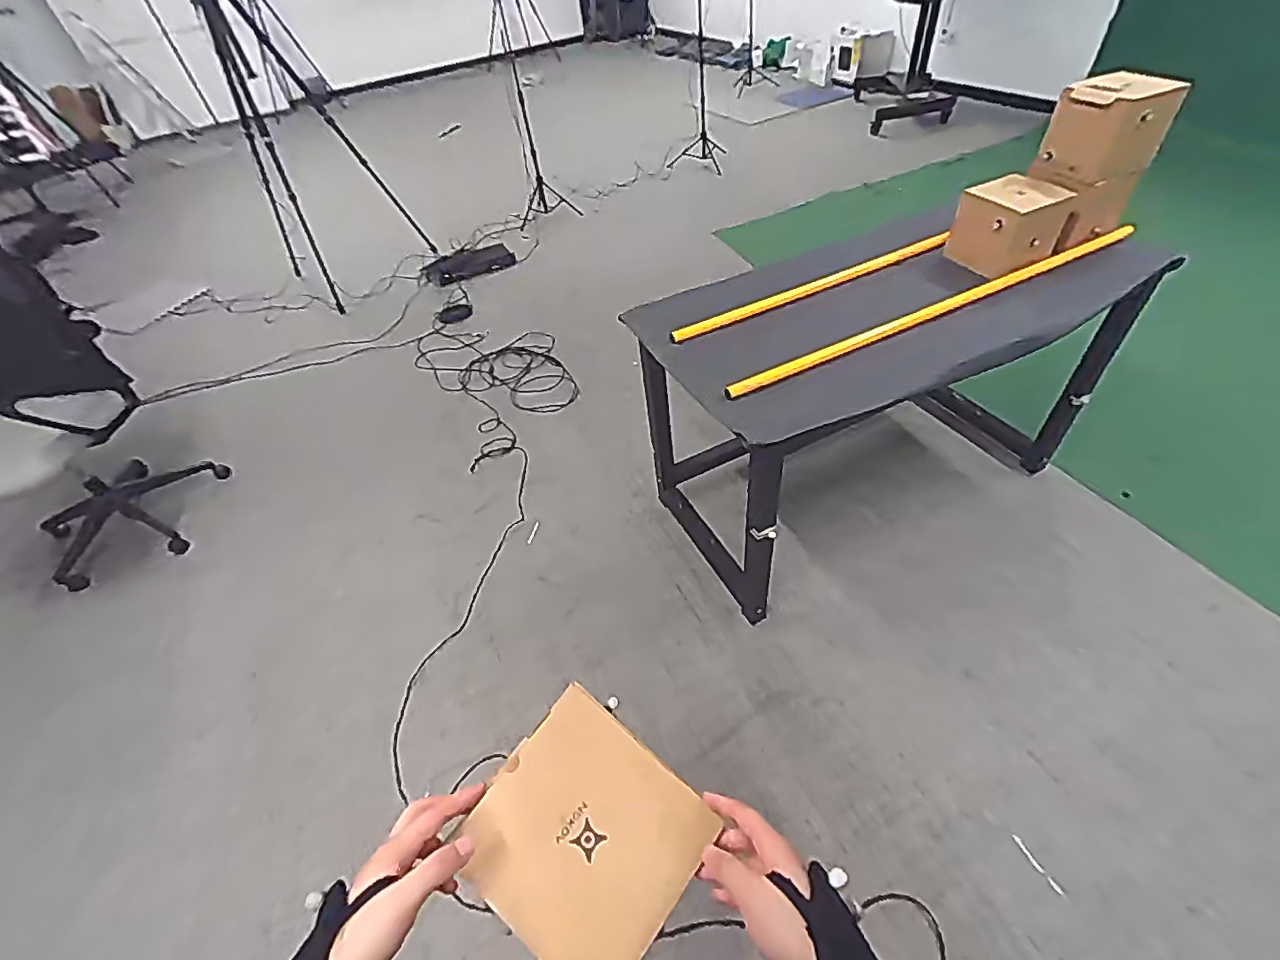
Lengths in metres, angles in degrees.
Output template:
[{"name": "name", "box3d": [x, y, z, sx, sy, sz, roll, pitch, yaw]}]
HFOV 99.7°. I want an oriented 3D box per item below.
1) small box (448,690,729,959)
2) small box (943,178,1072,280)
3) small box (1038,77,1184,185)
[{"name": "small box", "box3d": [-0.041, 0.328, 0.518, 0.179, 0.176, 0.168, 36, 69, 16]}, {"name": "small box", "box3d": [0.895, -0.615, 1.336, 0.168, 0.176, 0.179, -21, 48, -11]}, {"name": "small box", "box3d": [1.082, -0.814, 1.266, 0.179, 0.176, 0.168, -20, 49, -10]}]
